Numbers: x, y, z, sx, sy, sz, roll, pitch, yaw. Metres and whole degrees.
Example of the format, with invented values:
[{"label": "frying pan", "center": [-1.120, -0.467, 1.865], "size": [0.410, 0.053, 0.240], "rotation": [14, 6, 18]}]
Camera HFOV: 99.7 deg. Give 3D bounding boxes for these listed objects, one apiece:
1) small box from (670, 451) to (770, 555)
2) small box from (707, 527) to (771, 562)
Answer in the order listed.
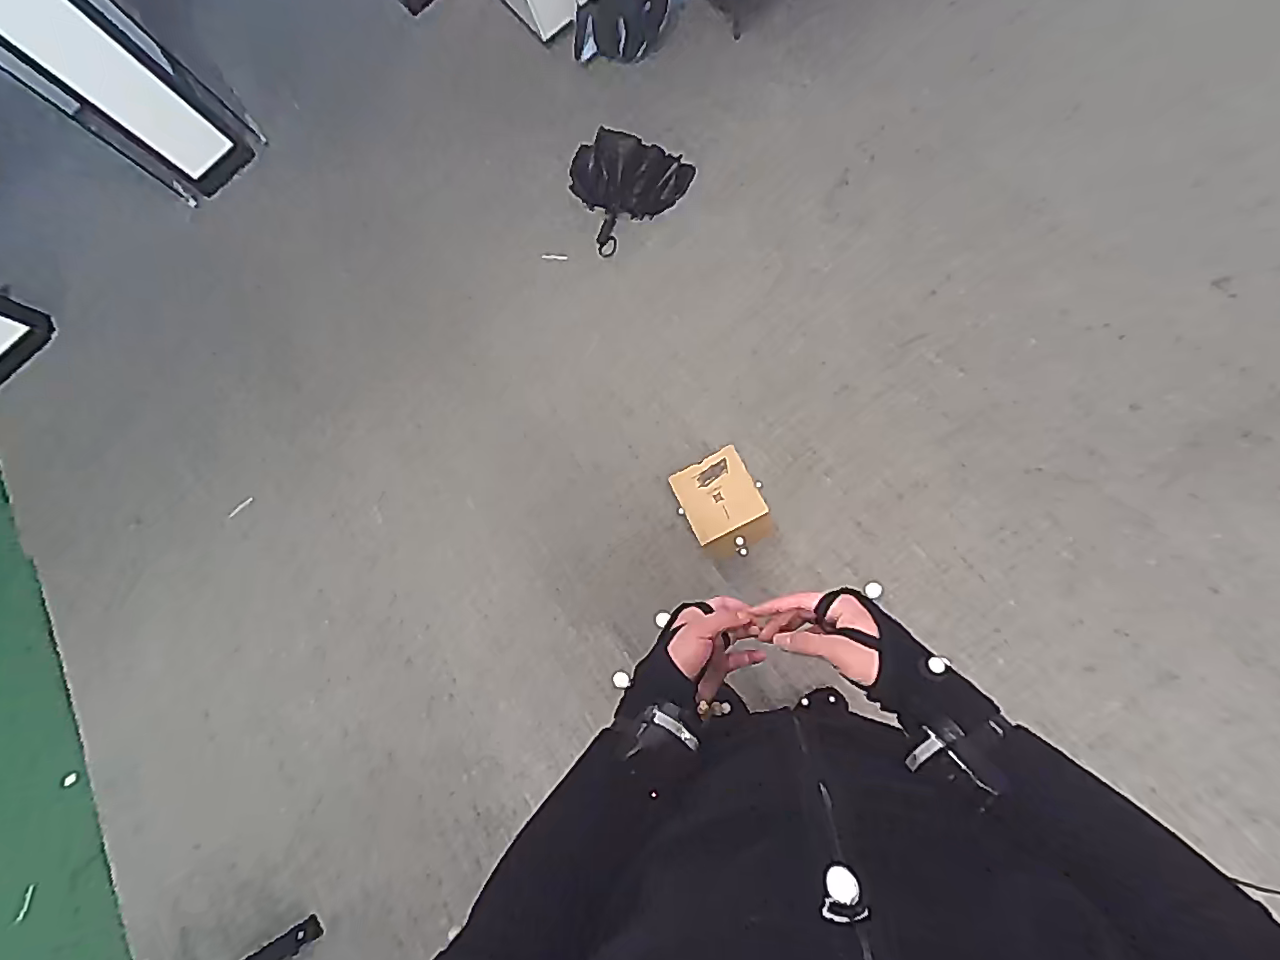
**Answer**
[{"label": "small box", "center": [0.190, 0.061, 1.262], "size": [0.168, 0.176, 0.179], "rotation": [-27, 71, 7]}, {"label": "small box", "center": [0.229, 0.102, 1.417], "size": [0.168, 0.176, 0.179], "rotation": [-28, 72, 7]}]
